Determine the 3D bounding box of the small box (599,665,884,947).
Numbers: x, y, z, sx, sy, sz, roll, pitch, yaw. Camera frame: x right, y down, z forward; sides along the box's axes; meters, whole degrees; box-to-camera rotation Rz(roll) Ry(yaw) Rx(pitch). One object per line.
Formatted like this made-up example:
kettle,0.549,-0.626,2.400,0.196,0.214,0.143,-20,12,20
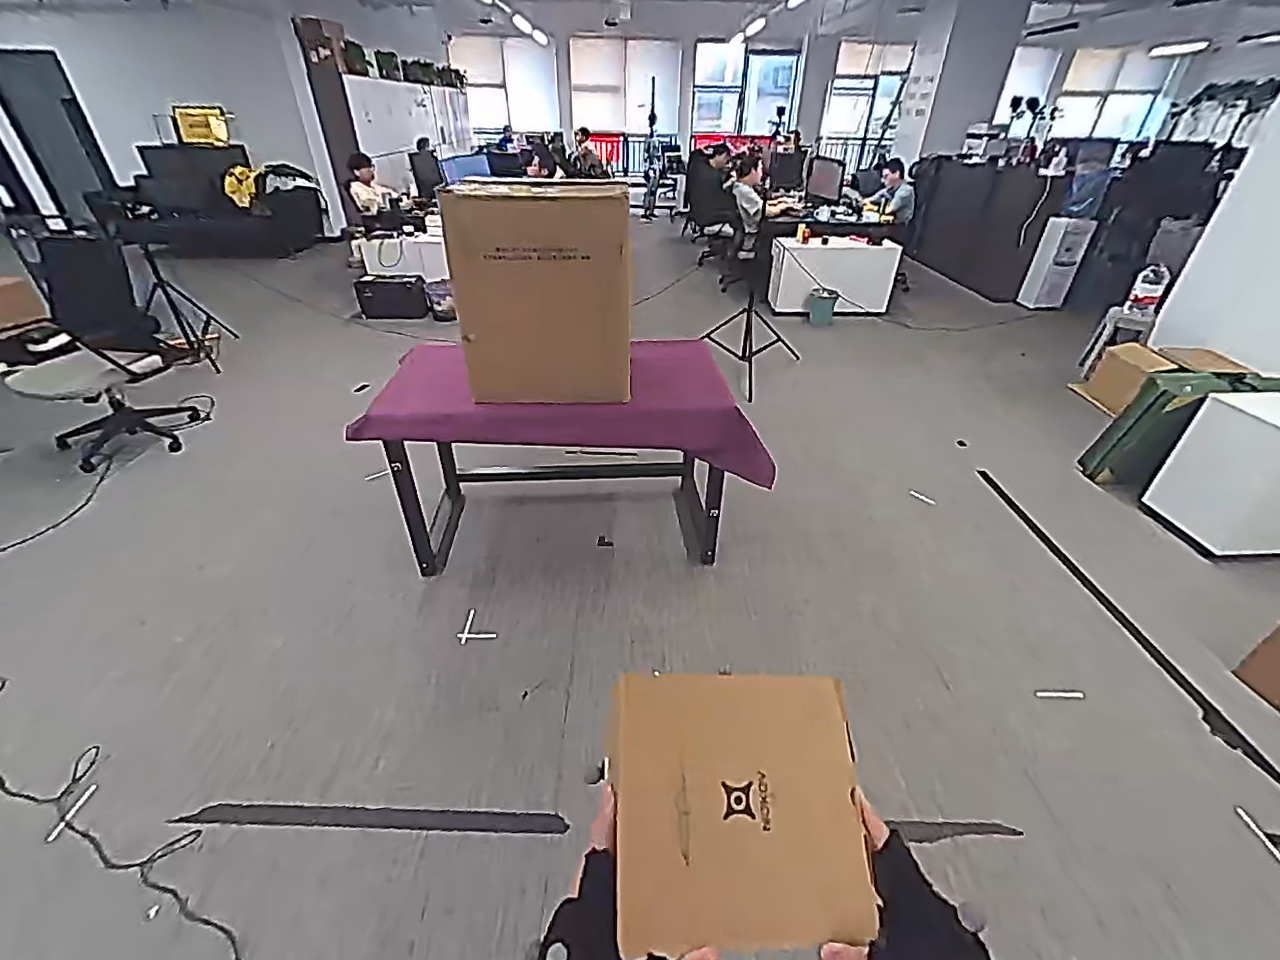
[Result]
small box,0.061,0.249,0.442,0.179,0.176,0.168,2,62,-7
